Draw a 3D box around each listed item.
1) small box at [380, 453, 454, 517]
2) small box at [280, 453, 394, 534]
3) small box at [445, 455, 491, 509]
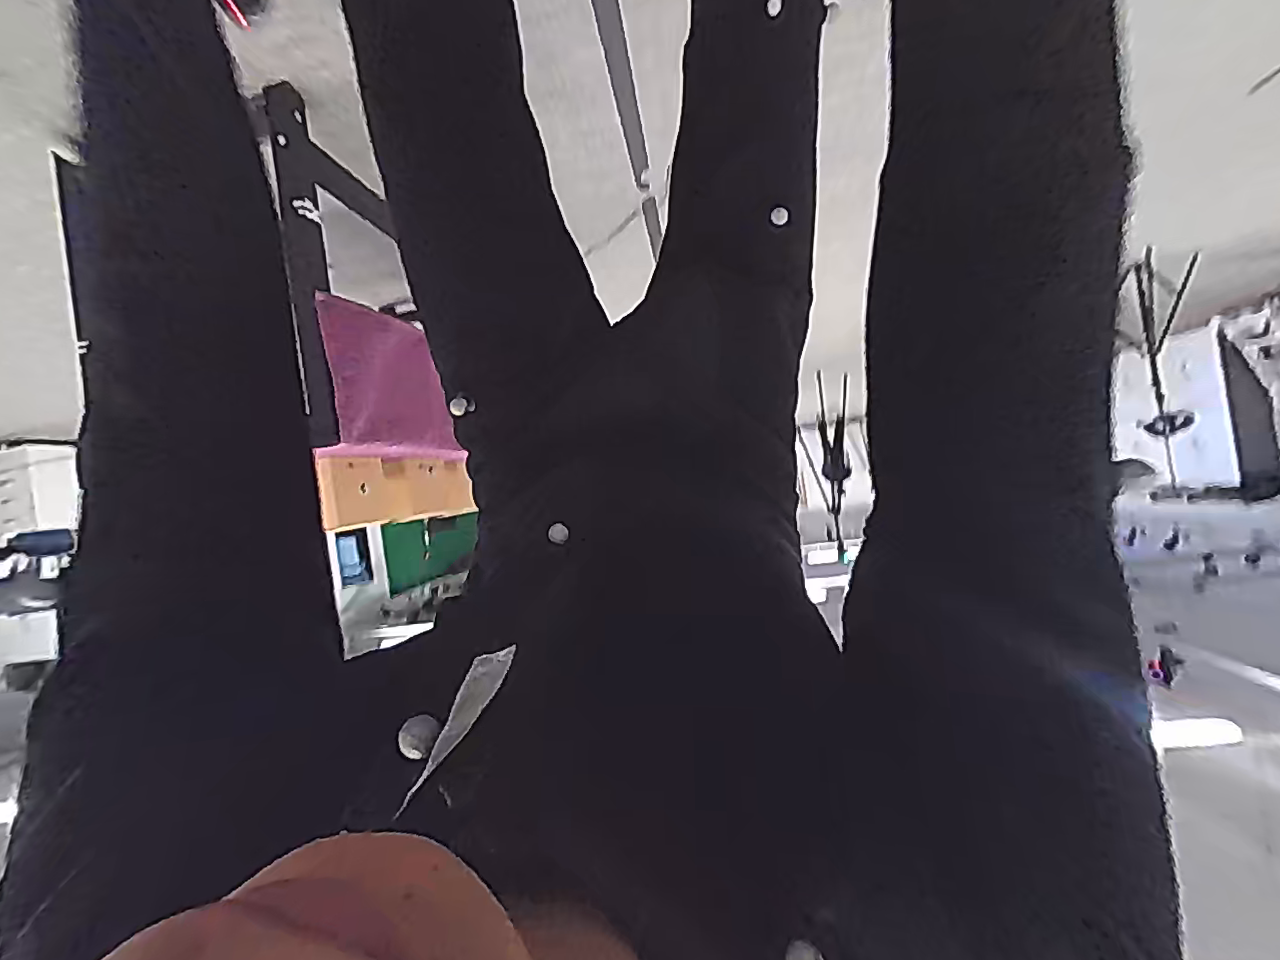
[{"bbox_3d":[-0.677,0.016,1.588,0.179,0.176,0.168,-9,-179,19],"label":"small box"},{"bbox_3d":[-0.740,0.028,1.319,0.179,0.176,0.168,-8,180,15],"label":"small box"},{"bbox_3d":[-0.650,0.012,1.893,0.179,0.176,0.168,-10,180,13],"label":"small box"}]
